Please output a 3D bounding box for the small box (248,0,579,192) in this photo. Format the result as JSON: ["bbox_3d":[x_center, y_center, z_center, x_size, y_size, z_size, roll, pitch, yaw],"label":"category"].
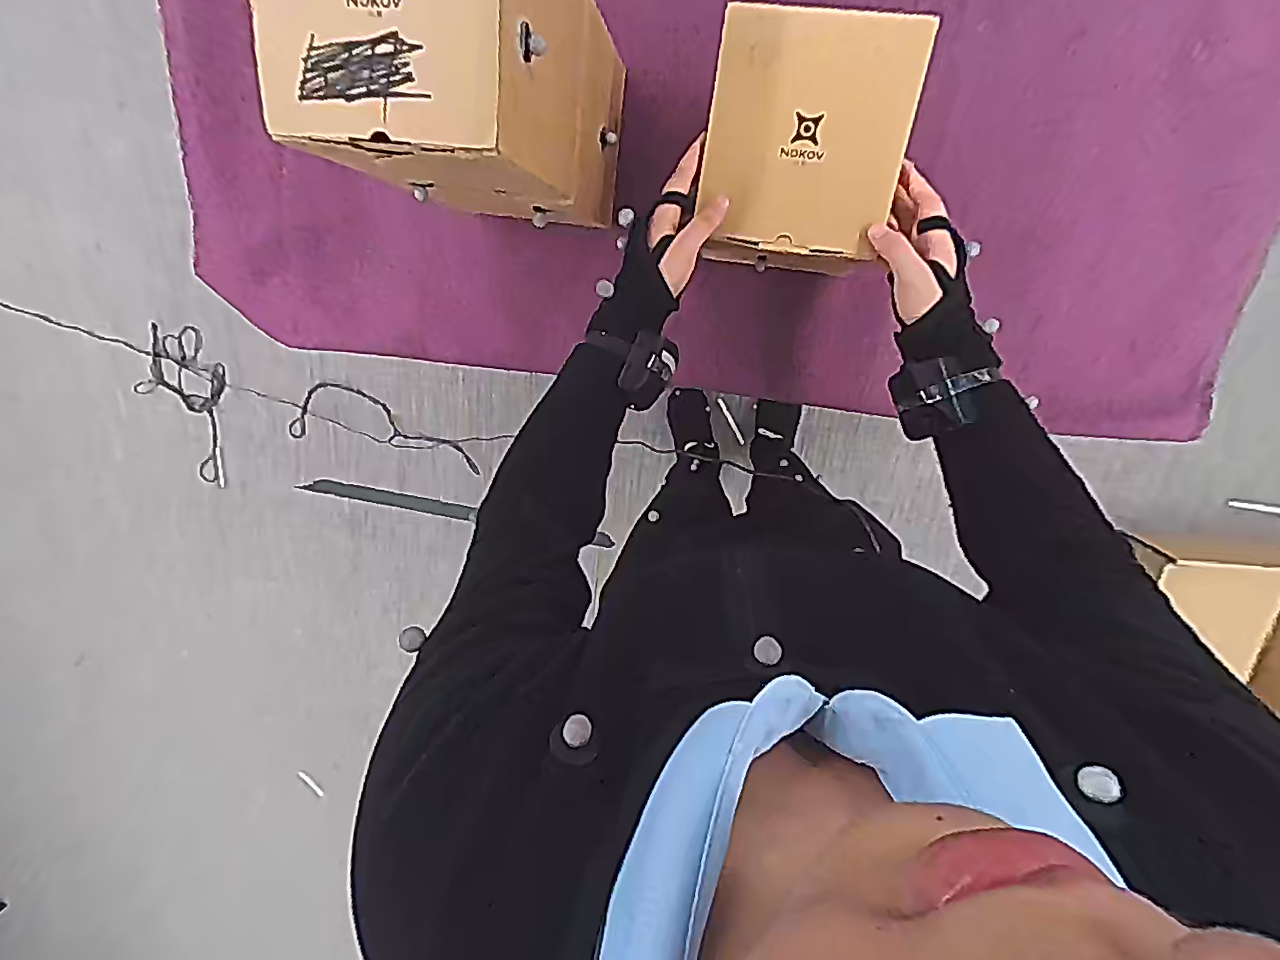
[{"bbox_3d":[-0.147,-0.324,0.397,0.168,0.176,0.179,8,109,7],"label":"small box"}]

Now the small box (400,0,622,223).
[{"bbox_3d":[-0.121,-0.368,0.553,0.179,0.176,0.168,10,109,7],"label":"small box"}]
